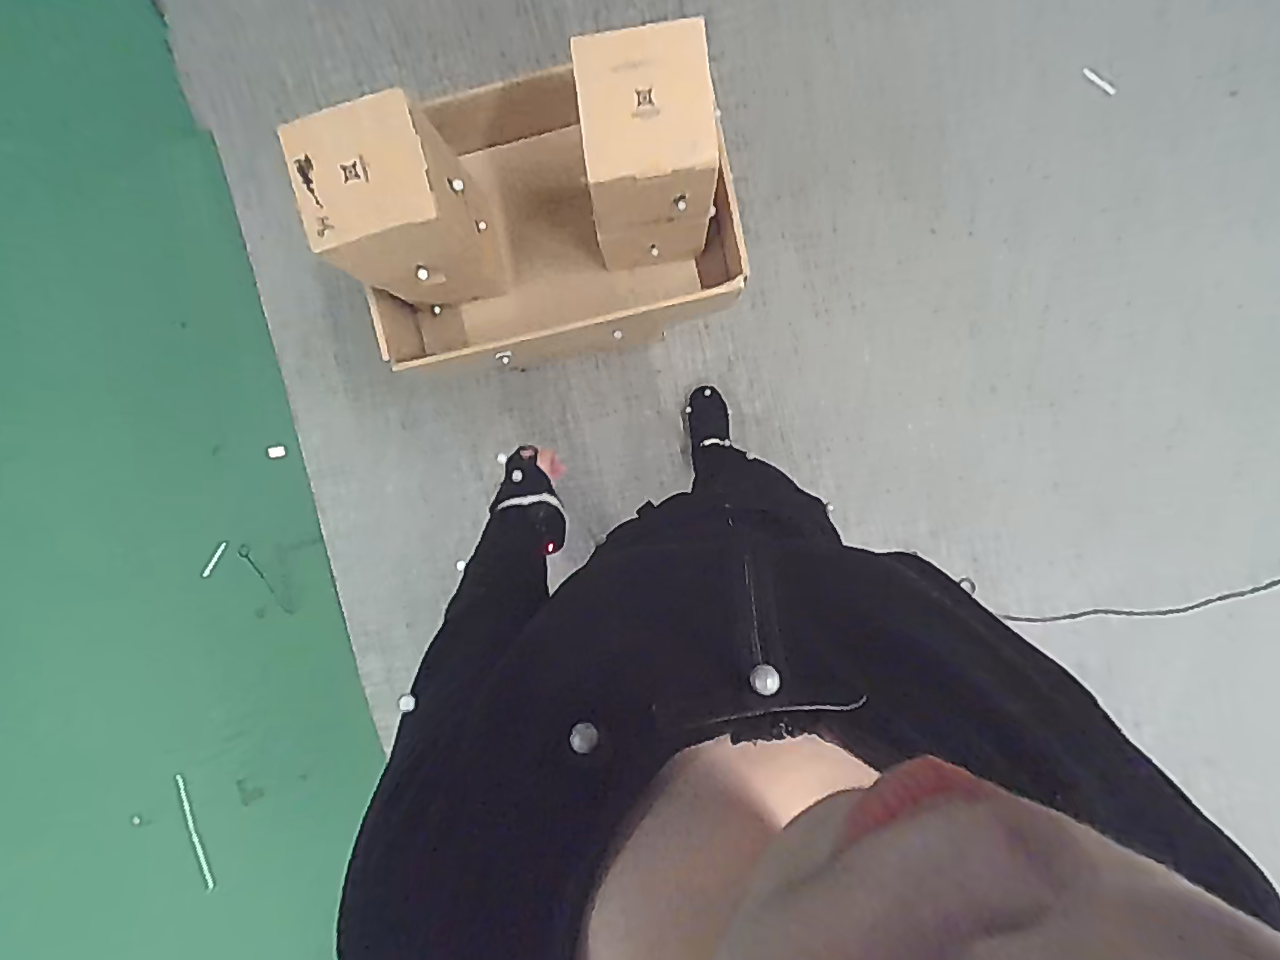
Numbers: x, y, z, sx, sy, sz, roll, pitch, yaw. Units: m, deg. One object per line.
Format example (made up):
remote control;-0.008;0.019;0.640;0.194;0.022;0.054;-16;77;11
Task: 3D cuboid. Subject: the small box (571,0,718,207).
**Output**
small box;0.011;-0.493;0.732;0.168;0.176;0.179;-7;92;3

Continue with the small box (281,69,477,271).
small box;-0.347;-0.419;0.761;0.179;0.176;0.168;-15;92;4
